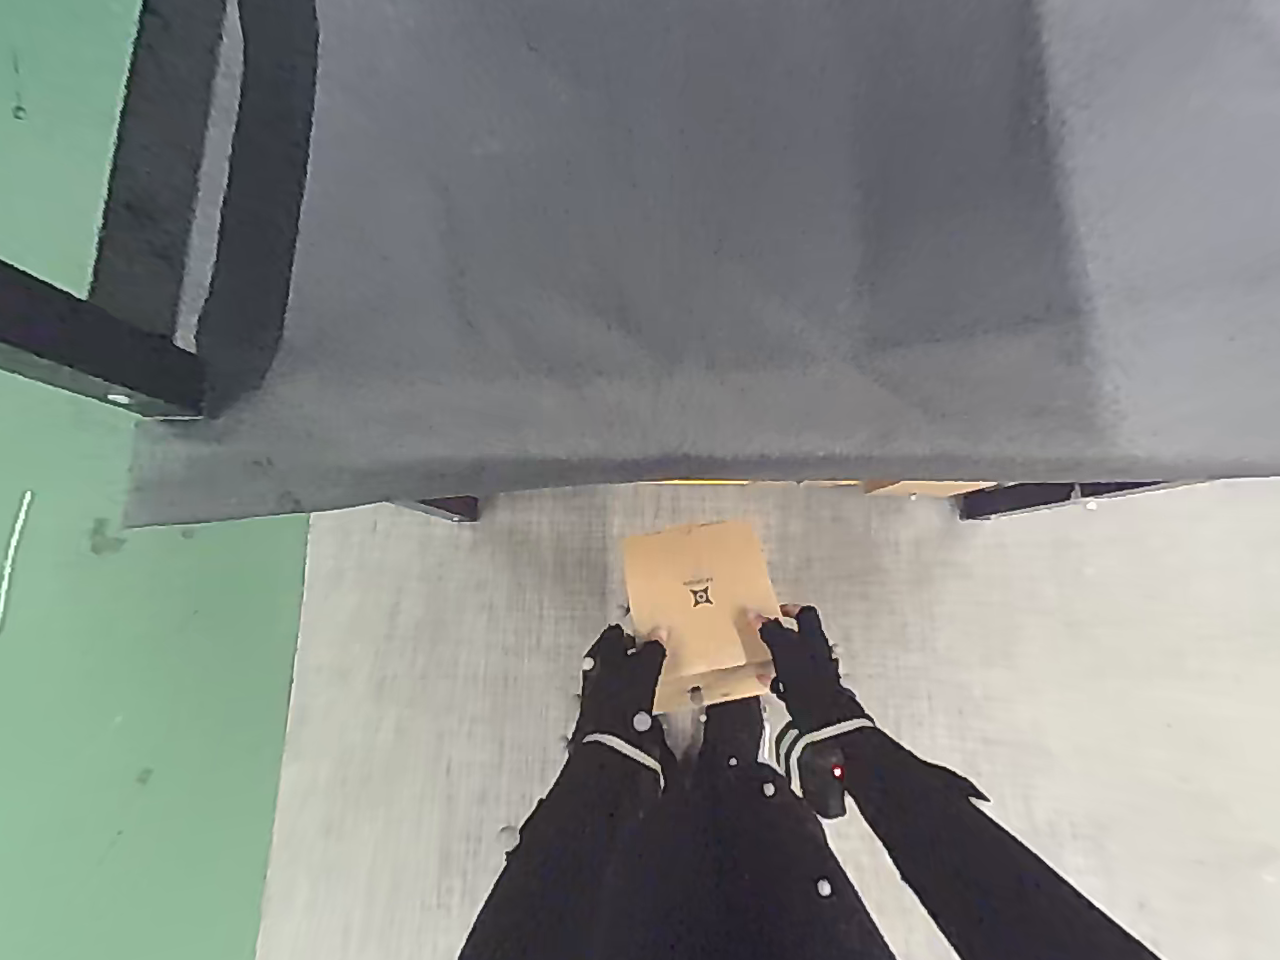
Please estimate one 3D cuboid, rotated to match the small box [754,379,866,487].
[{"bbox_3d":[0.313,-0.081,1.027,0.168,0.176,0.179,0,80,2],"label":"small box"}]
